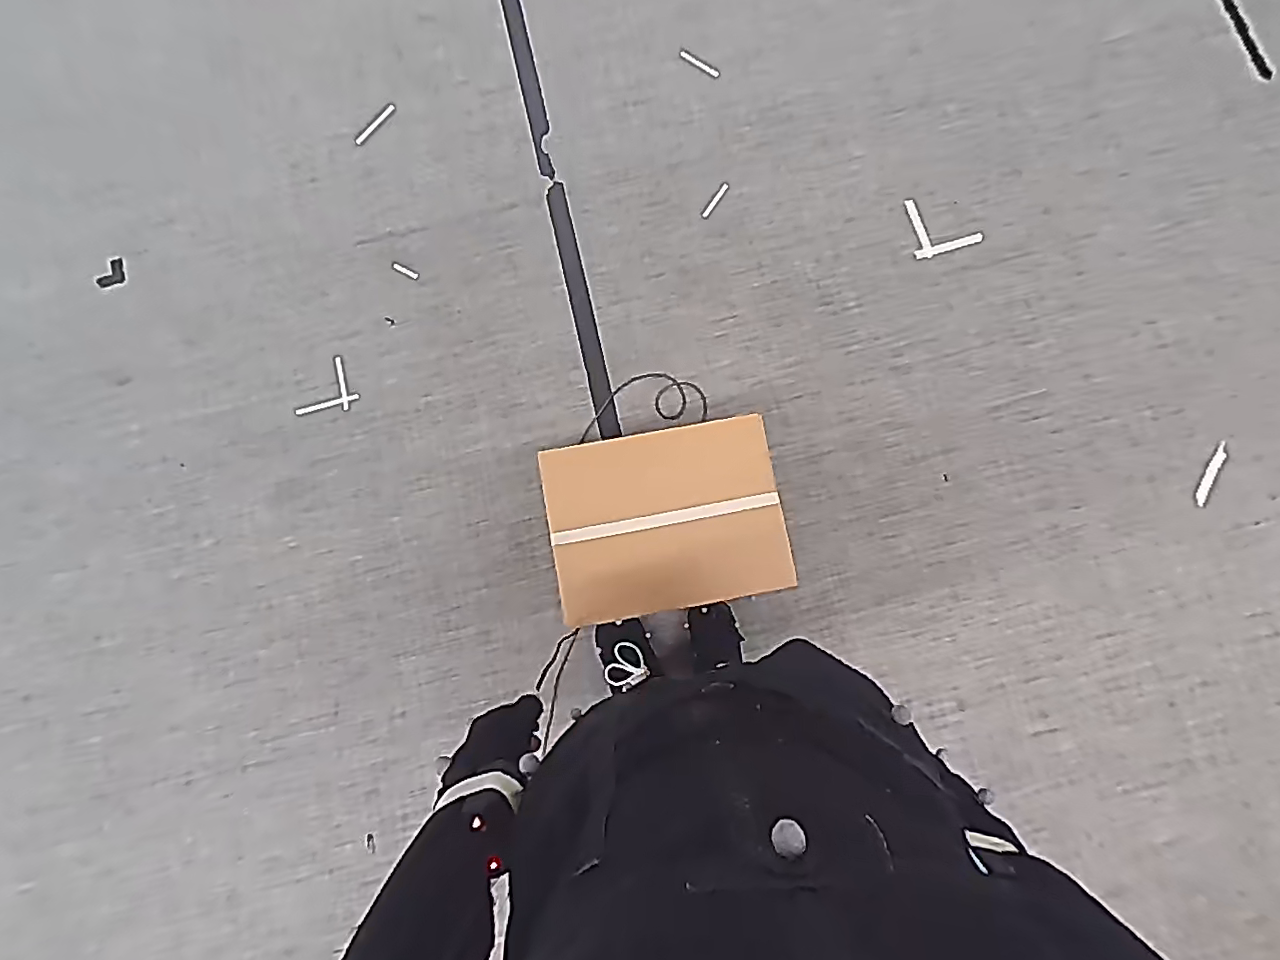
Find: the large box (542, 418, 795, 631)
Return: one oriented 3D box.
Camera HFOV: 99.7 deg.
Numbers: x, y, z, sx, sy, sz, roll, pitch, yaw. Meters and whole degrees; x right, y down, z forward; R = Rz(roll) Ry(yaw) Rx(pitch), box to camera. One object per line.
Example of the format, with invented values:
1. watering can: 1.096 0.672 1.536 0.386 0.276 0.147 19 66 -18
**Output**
1. large box: 0.048 0.092 1.093 0.408 0.320 0.320 -10 81 -2
